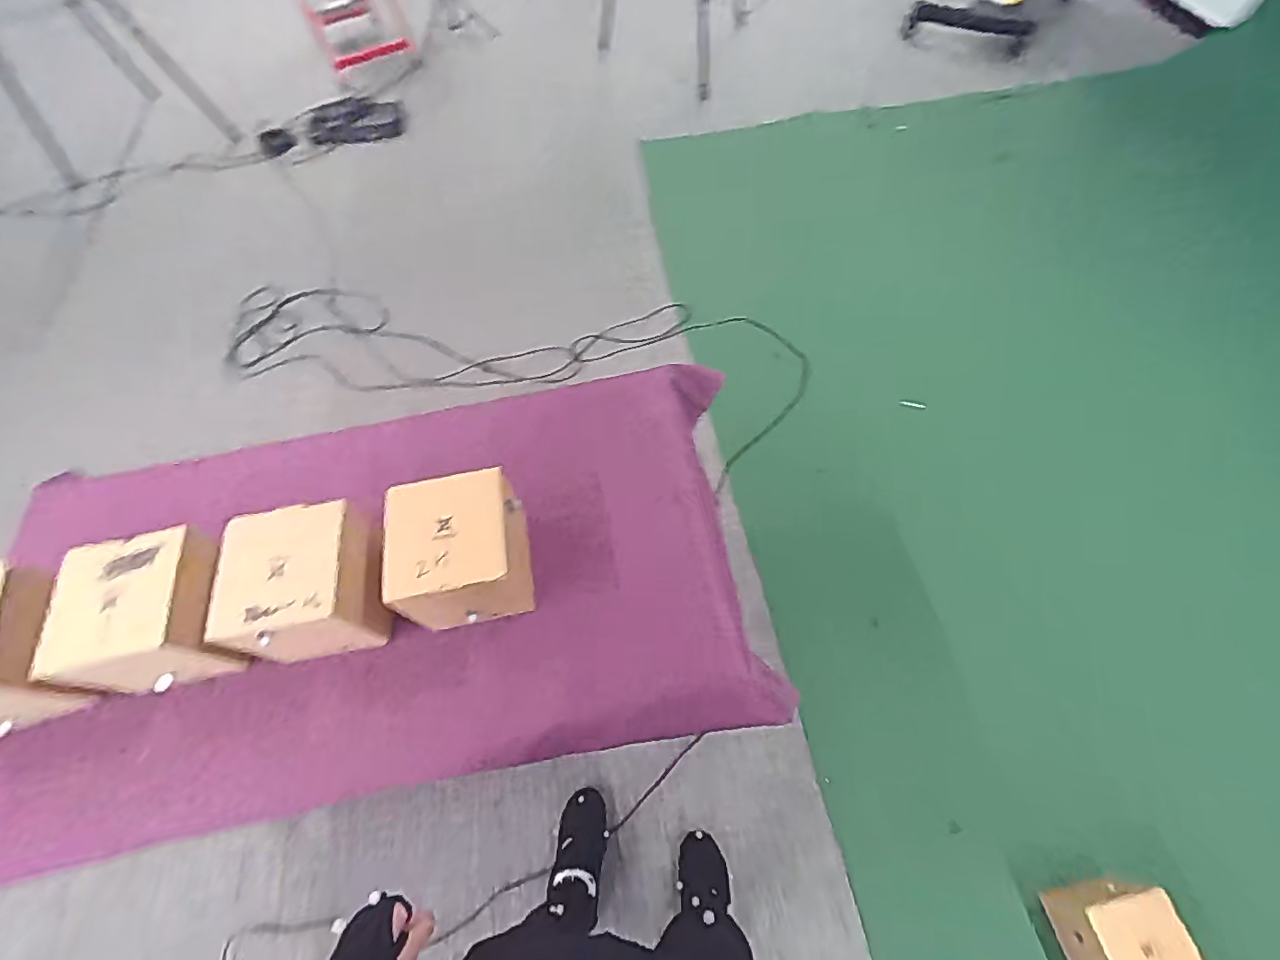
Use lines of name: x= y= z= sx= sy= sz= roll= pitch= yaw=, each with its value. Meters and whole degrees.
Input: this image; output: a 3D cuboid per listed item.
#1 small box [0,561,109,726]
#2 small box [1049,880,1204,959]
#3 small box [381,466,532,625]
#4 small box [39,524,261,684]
small box: x=-0.929 y=0.245 z=0.796 sx=0.168 sy=0.176 sz=0.179 roll=-16 pitch=63 yaw=-4
small box: x=0.990 y=0.948 z=1.108 sx=0.179 sy=0.176 sz=0.168 roll=-11 pitch=62 yaw=-3
small box: x=-0.269 y=0.104 z=0.823 sx=0.168 sy=0.176 sz=0.179 roll=-11 pitch=62 yaw=-1
small box: x=-0.708 y=0.190 z=0.810 sx=0.168 sy=0.176 sz=0.179 roll=-12 pitch=63 yaw=-2
